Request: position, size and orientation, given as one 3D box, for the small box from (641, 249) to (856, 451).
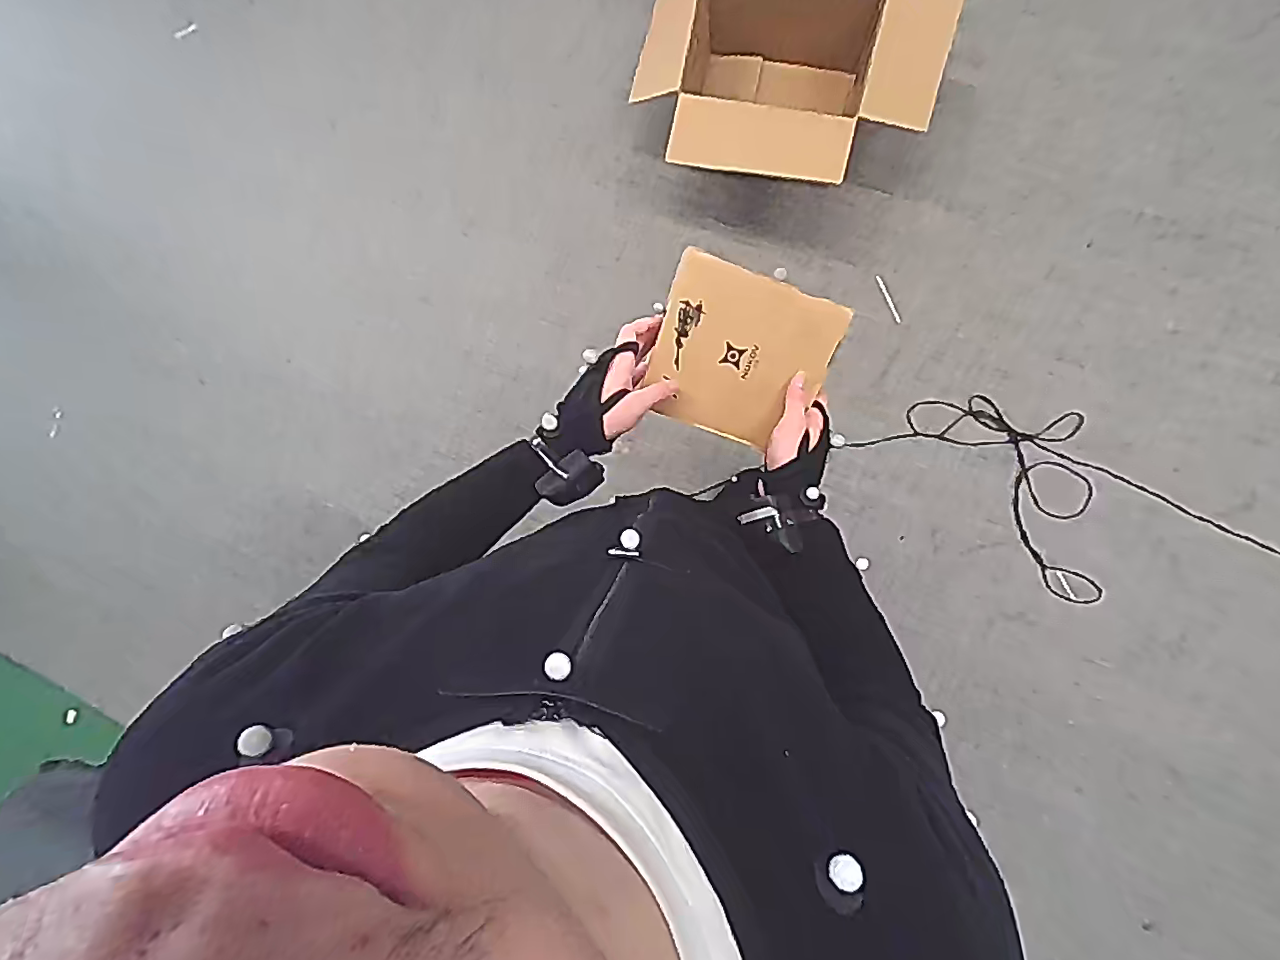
[{"bbox_3d":[0.110,-0.157,0.629,0.179,0.176,0.168,18,111,-5],"label":"small box"}]
